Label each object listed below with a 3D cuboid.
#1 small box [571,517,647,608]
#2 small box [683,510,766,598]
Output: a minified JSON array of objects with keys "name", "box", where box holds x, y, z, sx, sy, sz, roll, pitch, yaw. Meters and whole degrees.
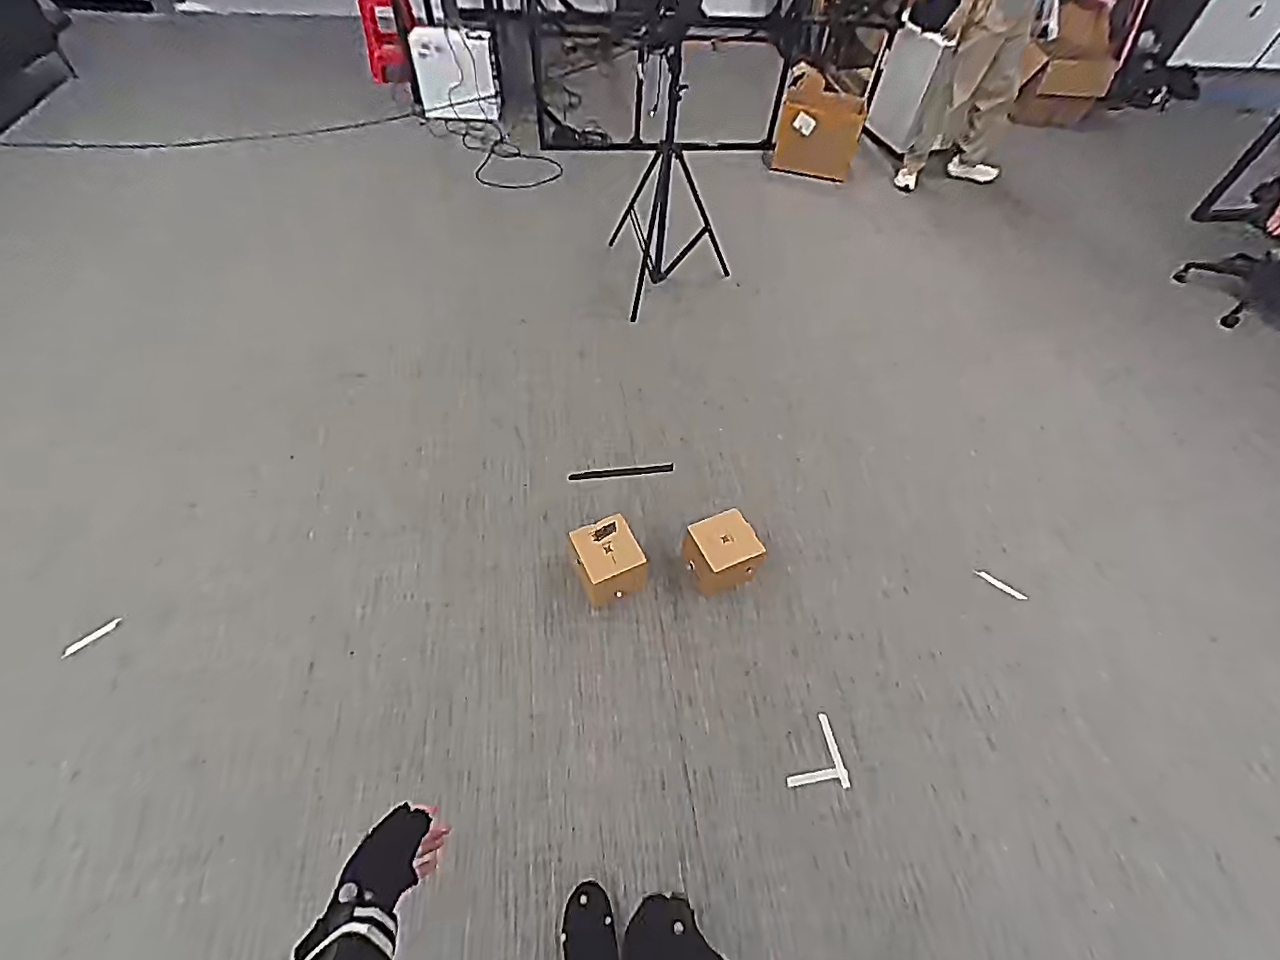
[{"name":"small box","box":[-0.094,0.242,1.571,0.168,0.176,0.179,-21,58,-18]},{"name":"small box","box":[0.243,0.222,1.611,0.179,0.176,0.168,-20,57,-17]}]
